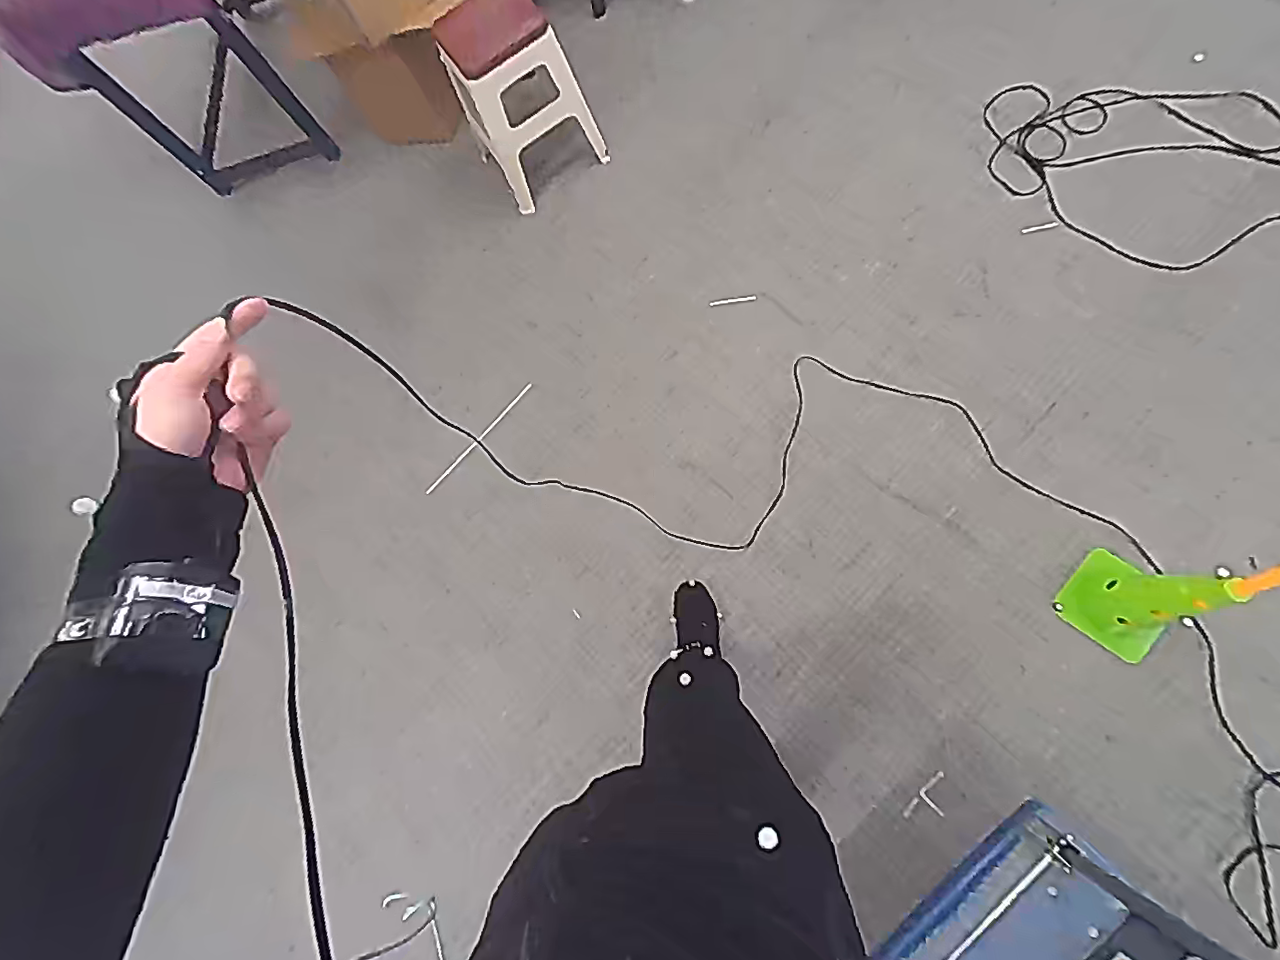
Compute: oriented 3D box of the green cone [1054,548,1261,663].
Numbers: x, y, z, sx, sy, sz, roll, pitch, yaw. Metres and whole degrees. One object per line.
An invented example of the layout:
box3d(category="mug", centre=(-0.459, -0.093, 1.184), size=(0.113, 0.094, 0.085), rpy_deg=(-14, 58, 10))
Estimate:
box3d(category="green cone", centre=(1.064, 0.235, 1.082), size=(0.200, 0.368, 0.202), rpy_deg=(38, 83, 19))
